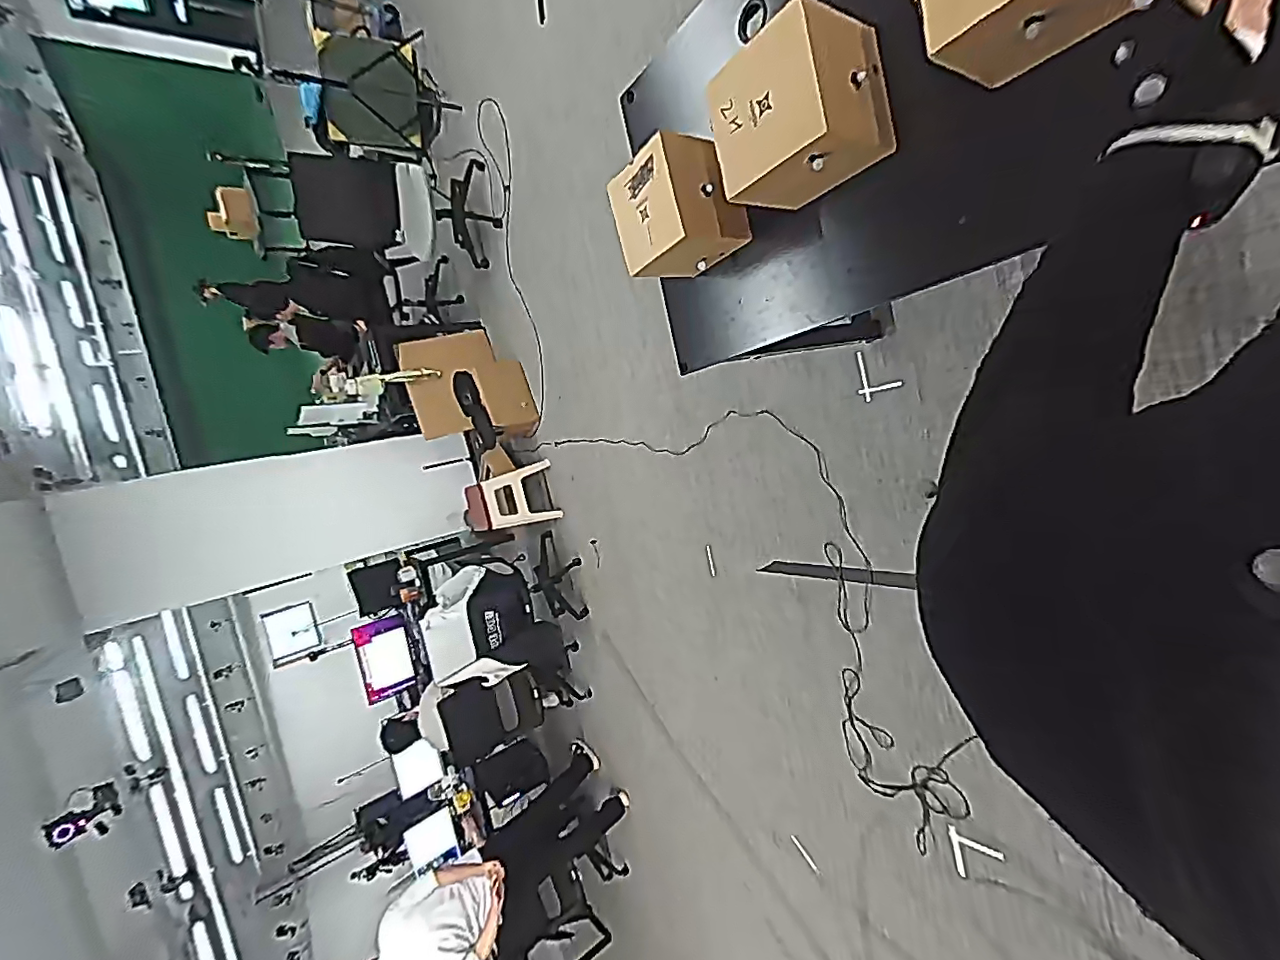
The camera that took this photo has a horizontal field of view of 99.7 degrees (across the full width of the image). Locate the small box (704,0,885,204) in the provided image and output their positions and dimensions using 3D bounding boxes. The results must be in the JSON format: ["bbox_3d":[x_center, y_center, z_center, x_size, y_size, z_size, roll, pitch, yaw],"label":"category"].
[{"bbox_3d":[0.223,-0.517,0.766,0.179,0.176,0.168,-8,96,55],"label":"small box"}]

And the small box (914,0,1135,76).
[{"bbox_3d":[0.391,-0.539,0.527,0.179,0.176,0.168,-4,99,56],"label":"small box"}]

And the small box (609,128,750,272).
[{"bbox_3d":[0.073,-0.495,0.986,0.168,0.176,0.179,-11,95,55],"label":"small box"}]
